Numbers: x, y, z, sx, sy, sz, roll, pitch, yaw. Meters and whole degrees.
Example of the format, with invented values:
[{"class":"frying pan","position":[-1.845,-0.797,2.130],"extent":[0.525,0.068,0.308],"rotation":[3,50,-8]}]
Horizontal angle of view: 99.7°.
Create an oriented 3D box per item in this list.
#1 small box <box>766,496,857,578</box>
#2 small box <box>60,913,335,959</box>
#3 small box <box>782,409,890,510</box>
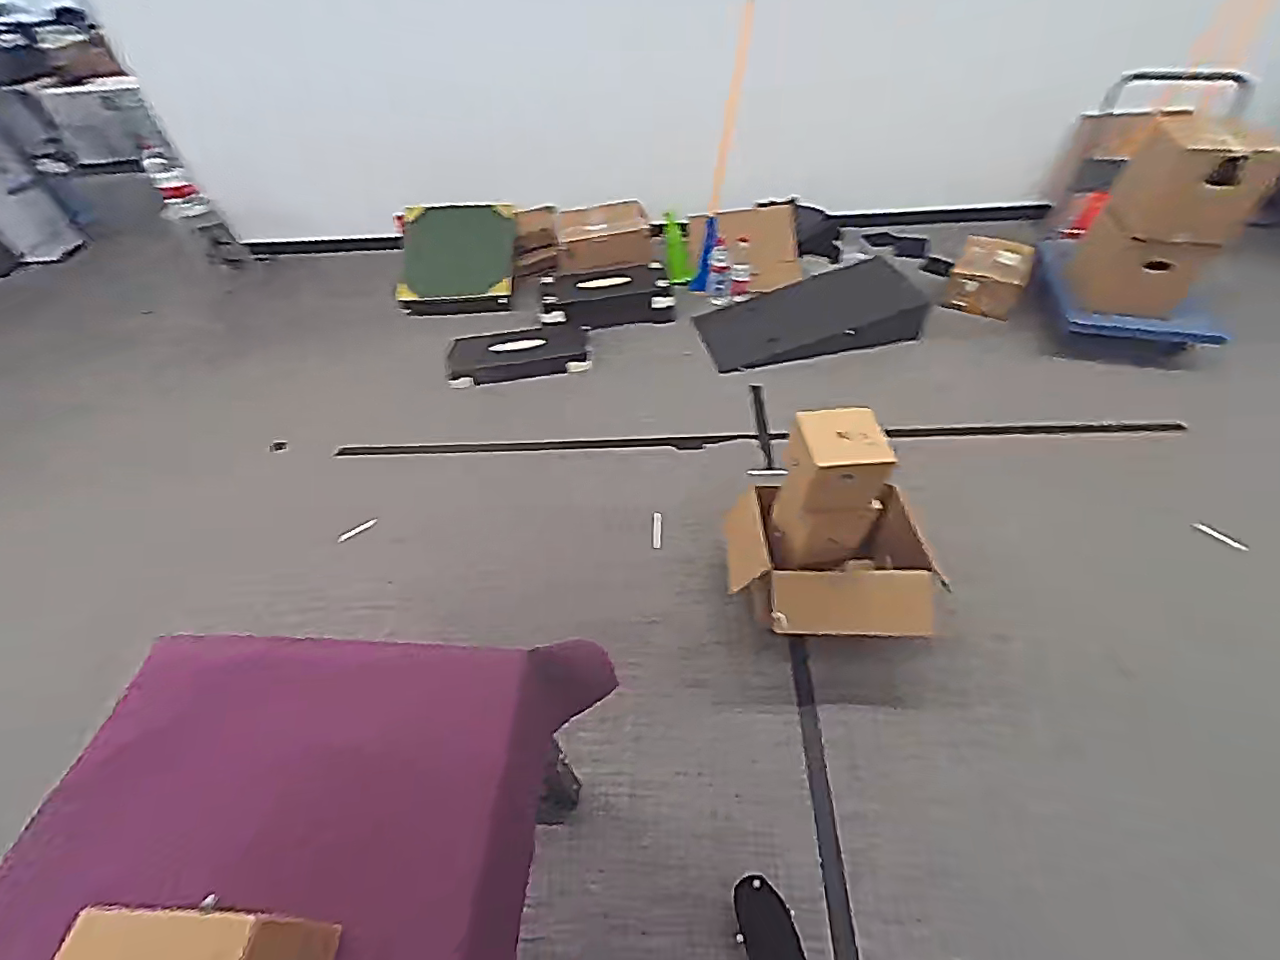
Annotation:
[{"class":"small box","position":[0.466,0.150,1.511],"extent":[0.179,0.176,0.168],"rotation":[-15,51,-13]},{"class":"small box","position":[-0.427,0.516,0.502],"extent":[0.179,0.176,0.168],"rotation":[-2,47,4]},{"class":"small box","position":[0.436,-0.043,1.244],"extent":[0.179,0.176,0.168],"rotation":[-4,51,-4]}]
